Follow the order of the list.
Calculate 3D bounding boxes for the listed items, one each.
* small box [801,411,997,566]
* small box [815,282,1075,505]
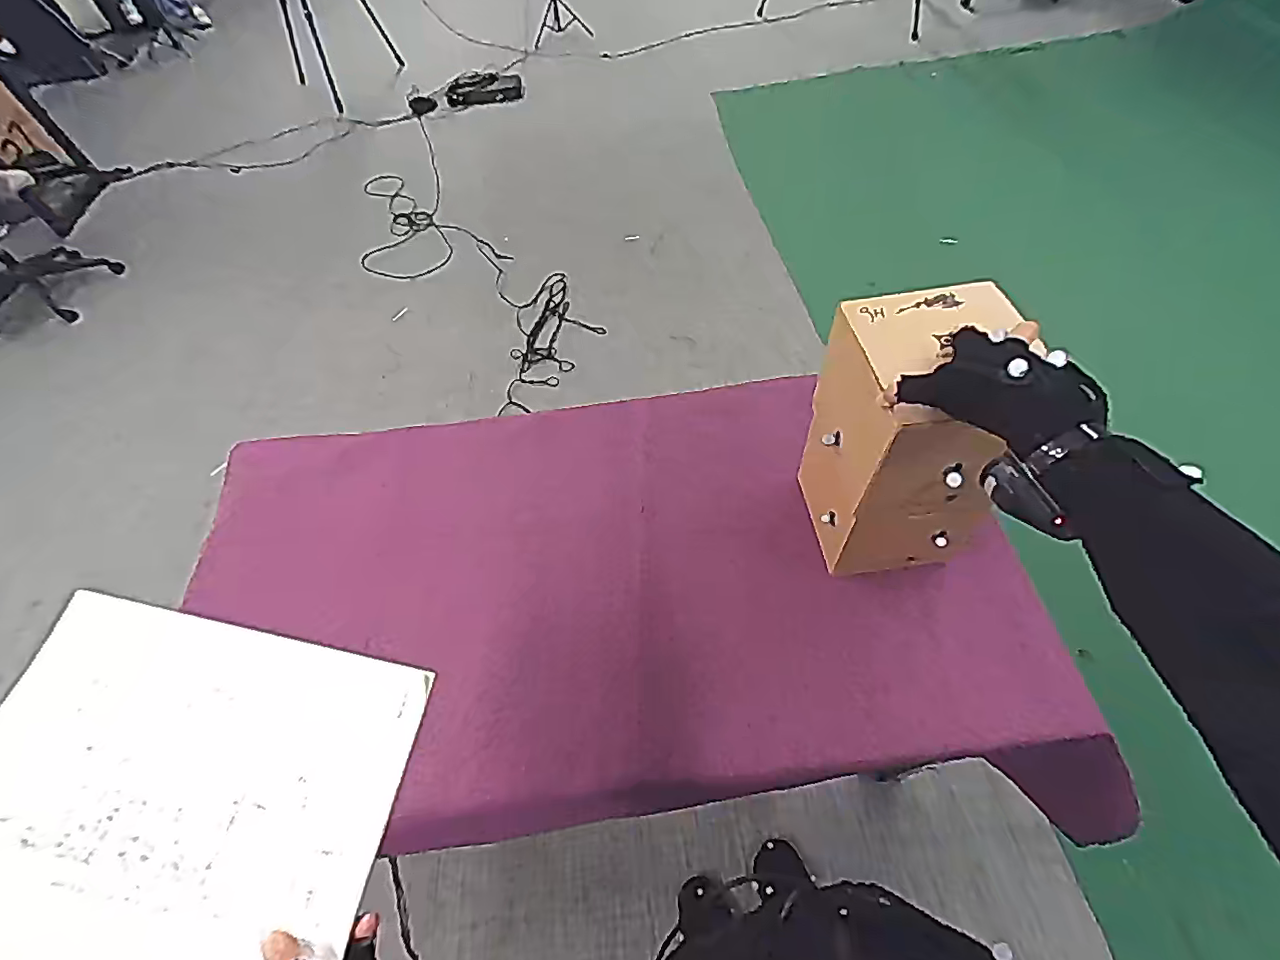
[{"bbox_3d":[0.327,0.005,0.728,0.168,0.176,0.179,-7,55,1],"label":"small box"},{"bbox_3d":[0.307,-0.084,0.593,0.168,0.176,0.179,-7,57,0],"label":"small box"}]
